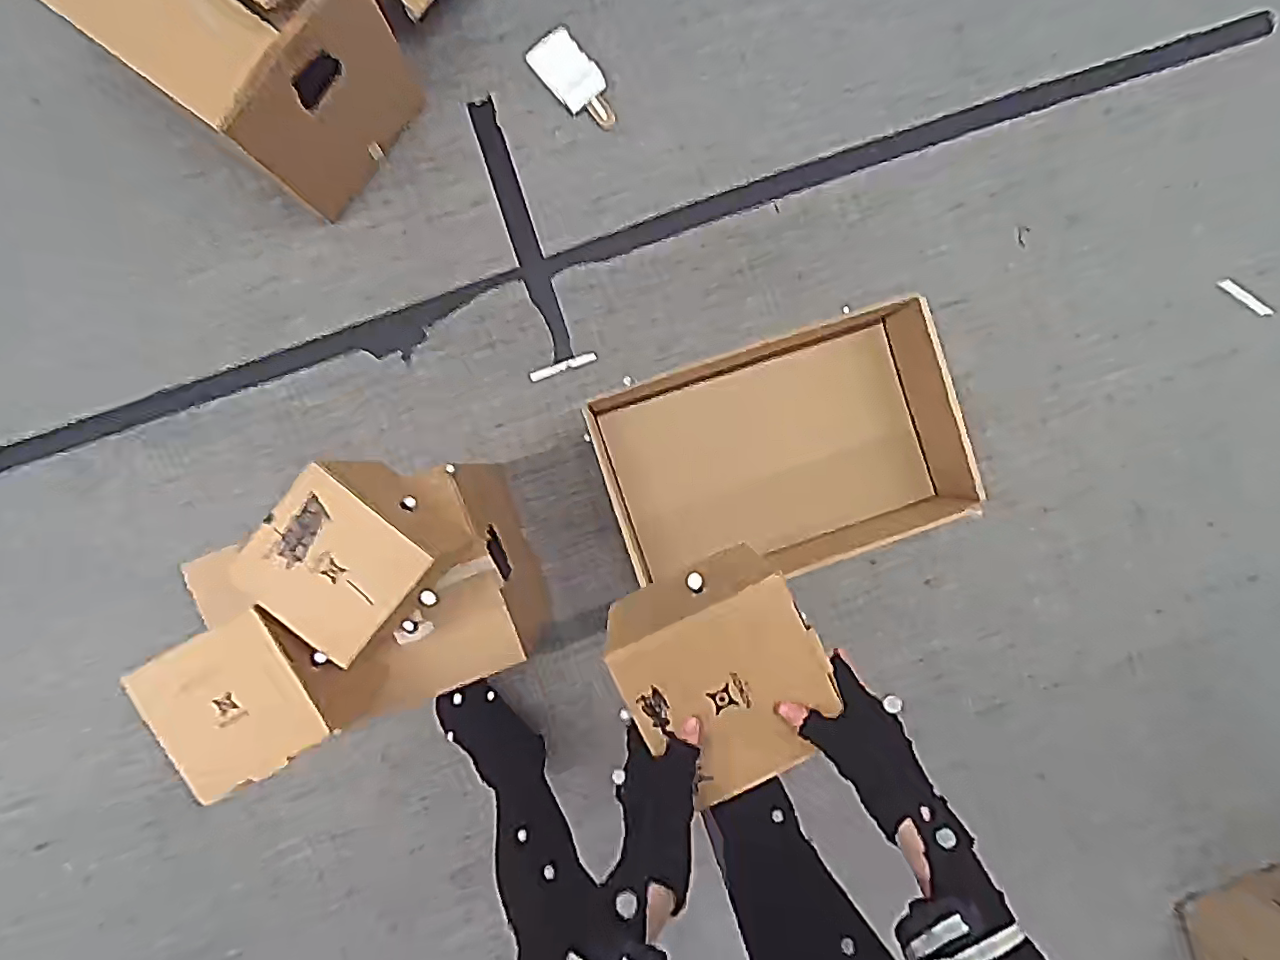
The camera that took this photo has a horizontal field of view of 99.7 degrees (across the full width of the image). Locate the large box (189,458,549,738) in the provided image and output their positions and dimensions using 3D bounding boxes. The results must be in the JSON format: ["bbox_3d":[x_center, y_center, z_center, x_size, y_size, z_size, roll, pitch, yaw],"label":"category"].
[{"bbox_3d":[-0.411,0.181,0.925,0.408,0.320,0.320,-22,94,-2],"label":"large box"}]

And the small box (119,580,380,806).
[{"bbox_3d":[-0.468,0.251,0.682,0.168,0.176,0.179,-30,92,-3],"label":"small box"}]

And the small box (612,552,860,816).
[{"bbox_3d":[0.084,0.188,0.556,0.179,0.176,0.168,-26,90,0],"label":"small box"}]
